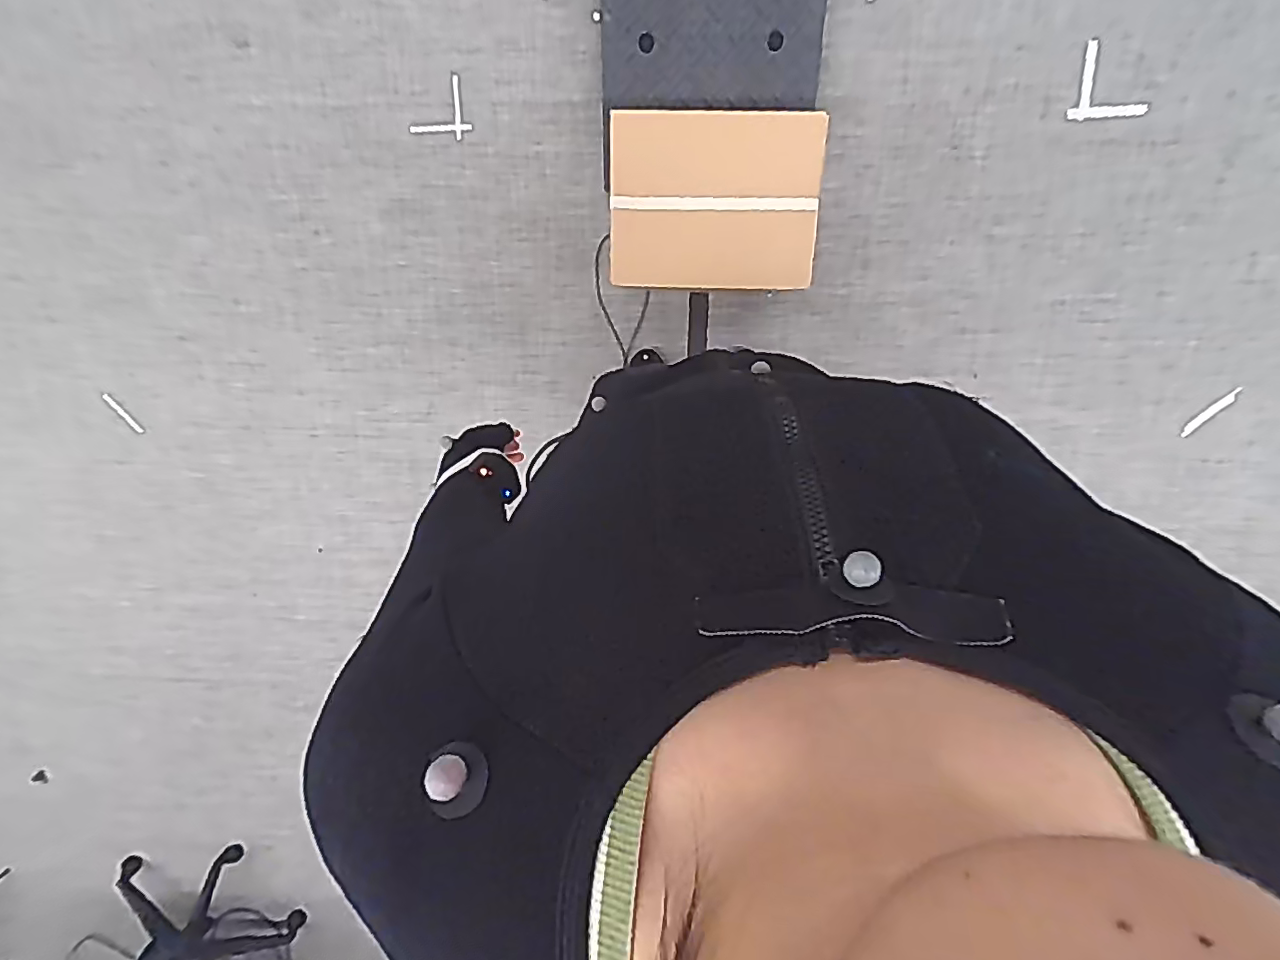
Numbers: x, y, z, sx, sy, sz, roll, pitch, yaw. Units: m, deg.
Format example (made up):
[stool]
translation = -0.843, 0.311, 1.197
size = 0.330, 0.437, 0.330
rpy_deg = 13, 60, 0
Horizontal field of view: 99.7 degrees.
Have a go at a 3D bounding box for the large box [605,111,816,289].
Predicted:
[large box]
translation = 0.138, -0.589, 1.198
size = 0.408, 0.320, 0.320
rpy_deg = 2, 107, 2

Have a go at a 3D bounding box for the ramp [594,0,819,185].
[ramp]
translation = 0.145, -1.175, 1.119
size = 0.509, 0.206, 0.991
rpy_deg = -1, 104, 1
